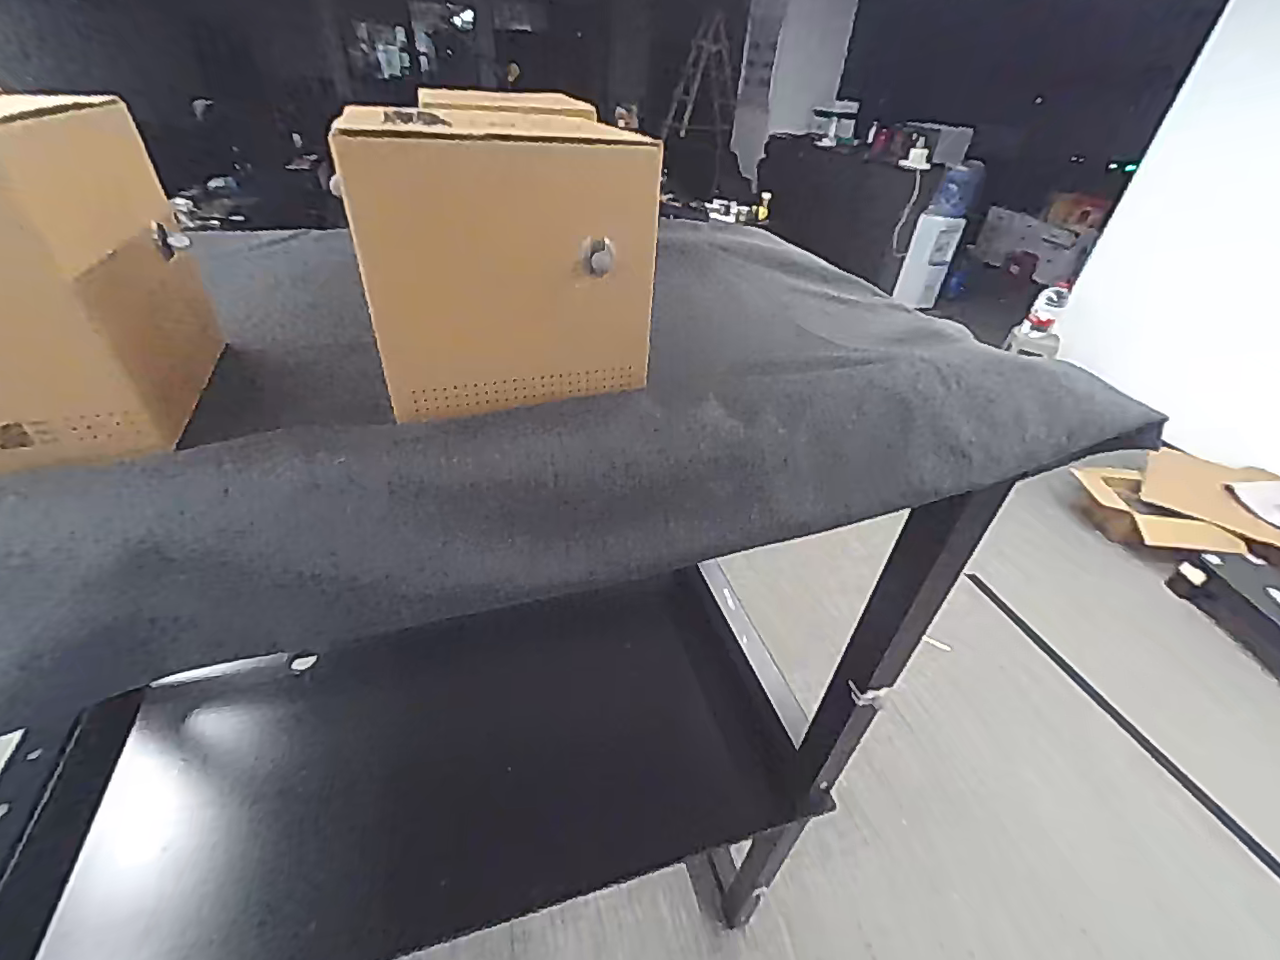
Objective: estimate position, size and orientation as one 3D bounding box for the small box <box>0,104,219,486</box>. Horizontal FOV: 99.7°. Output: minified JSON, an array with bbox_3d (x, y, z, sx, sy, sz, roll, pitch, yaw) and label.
[{"bbox_3d":[-0.376,-0.108,0.304,0.168,0.176,0.179,-12,39,-19],"label":"small box"}]

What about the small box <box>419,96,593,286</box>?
[{"bbox_3d":[-0.150,-0.329,0.618,0.168,0.176,0.179,-9,39,-16],"label":"small box"}]
